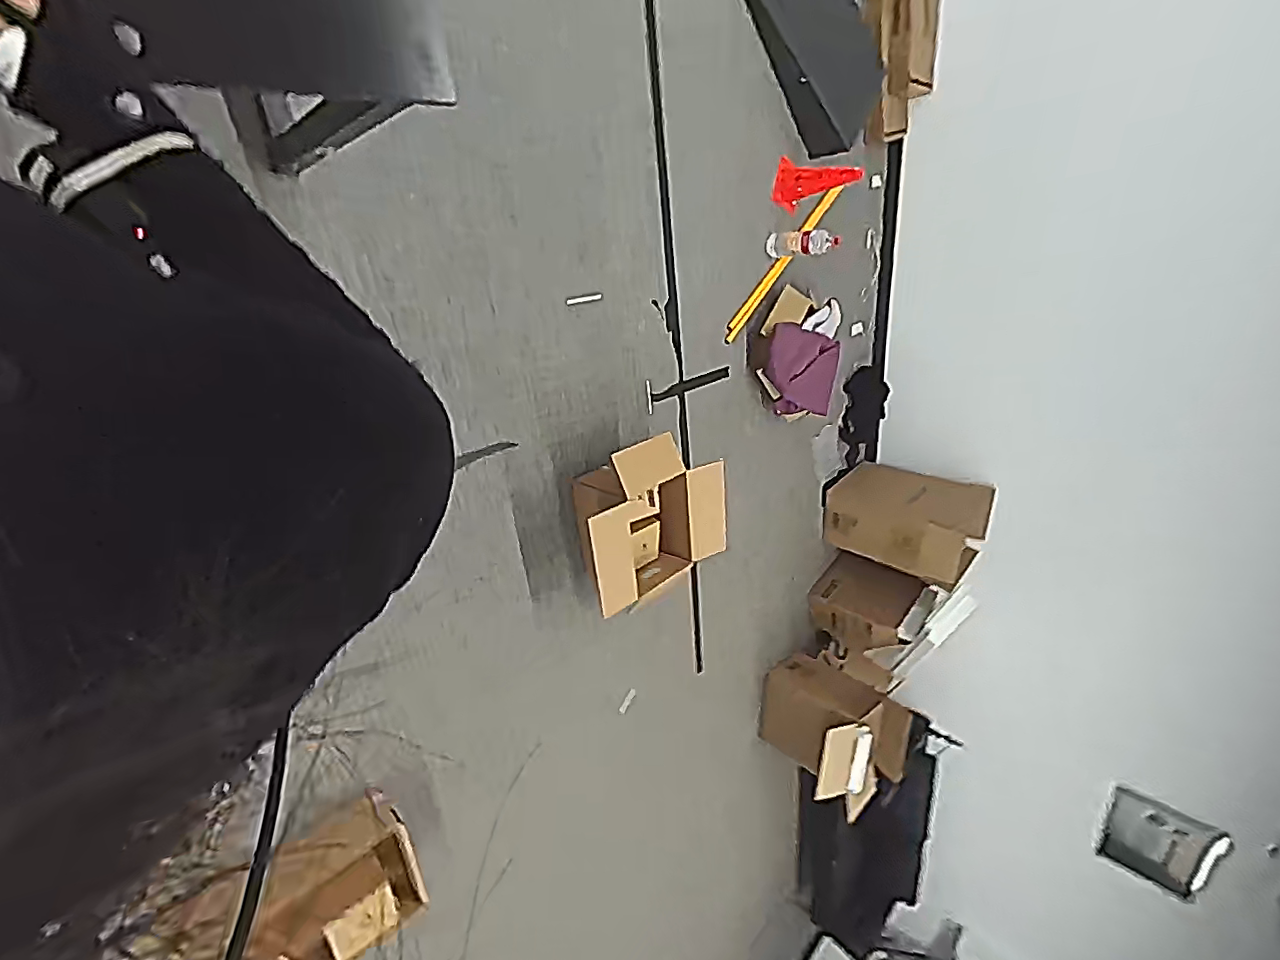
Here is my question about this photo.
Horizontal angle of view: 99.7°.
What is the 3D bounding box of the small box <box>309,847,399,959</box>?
[{"bbox_3d":[-0.850,1.252,1.607,0.179,0.176,0.168,-22,116,-39],"label":"small box"}]
